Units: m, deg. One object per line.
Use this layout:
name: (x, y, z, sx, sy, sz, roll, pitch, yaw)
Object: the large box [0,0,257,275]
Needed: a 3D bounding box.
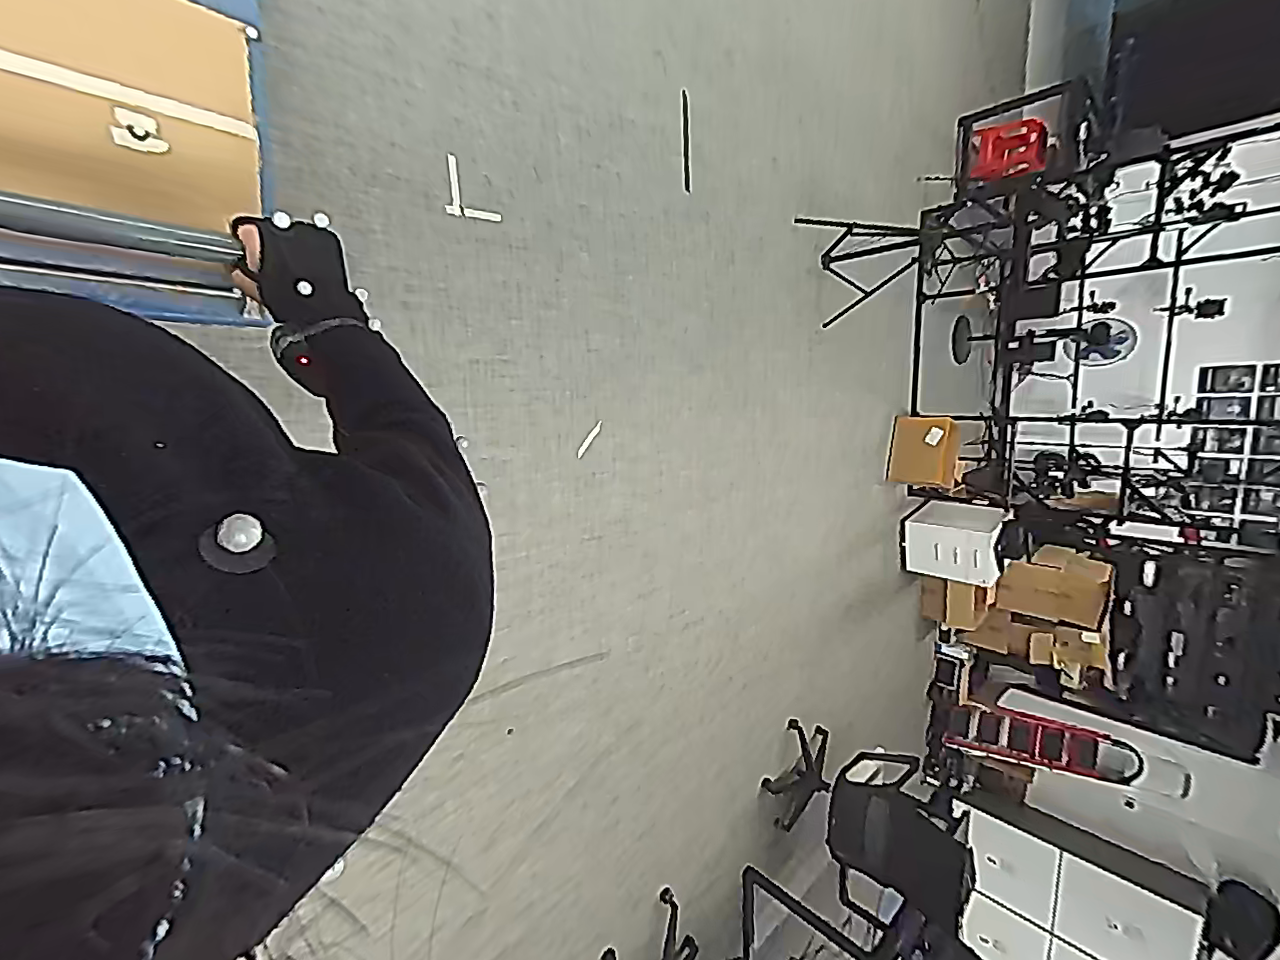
large box: (-0.848, -0.517, 0.795, 0.408, 0.320, 0.320, -6, 101, -45)
